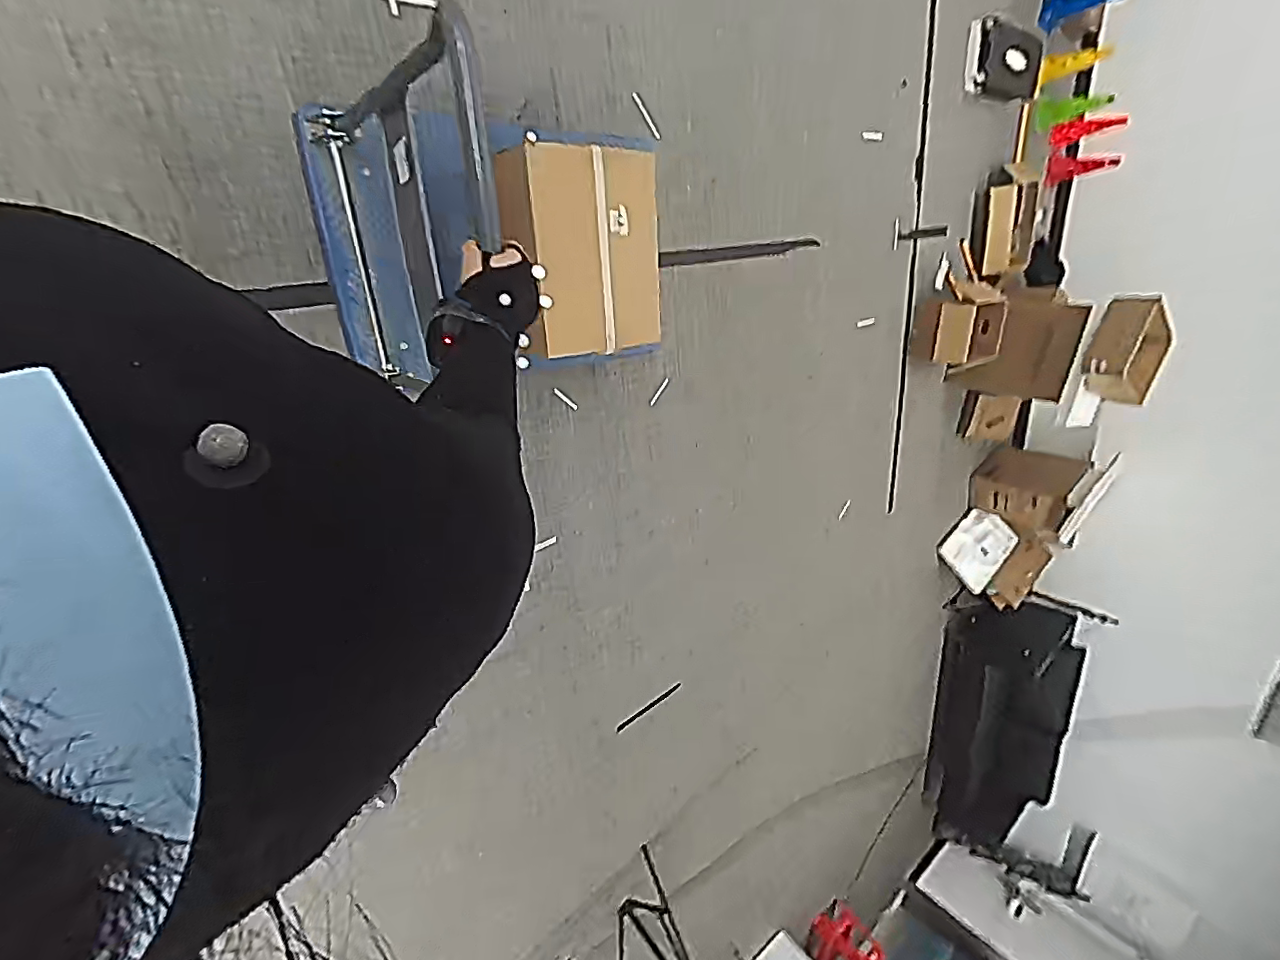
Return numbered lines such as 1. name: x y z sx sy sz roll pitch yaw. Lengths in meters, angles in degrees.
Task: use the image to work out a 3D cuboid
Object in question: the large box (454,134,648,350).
1. large box: -0.207 -0.537 1.275 0.320 0.320 0.408 -19 115 -35
